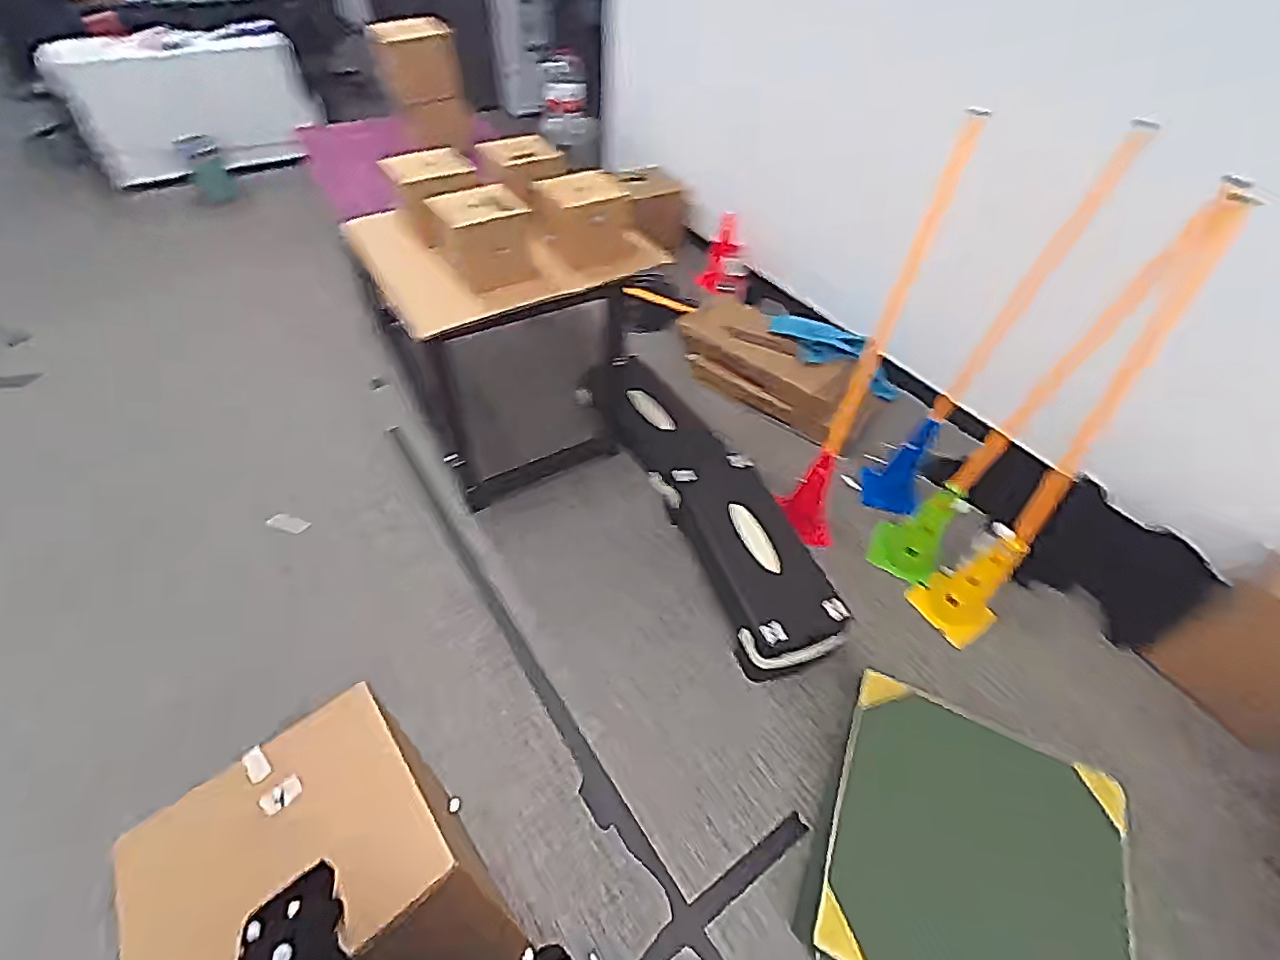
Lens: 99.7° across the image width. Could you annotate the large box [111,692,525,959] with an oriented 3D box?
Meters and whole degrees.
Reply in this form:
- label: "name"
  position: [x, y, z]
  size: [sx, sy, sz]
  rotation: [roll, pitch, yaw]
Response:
- label: "large box"
  position: [-0.415, 0.588, 0.763]
  size: [0.320, 0.408, 0.320]
  rotation: [-32, 47, -27]
